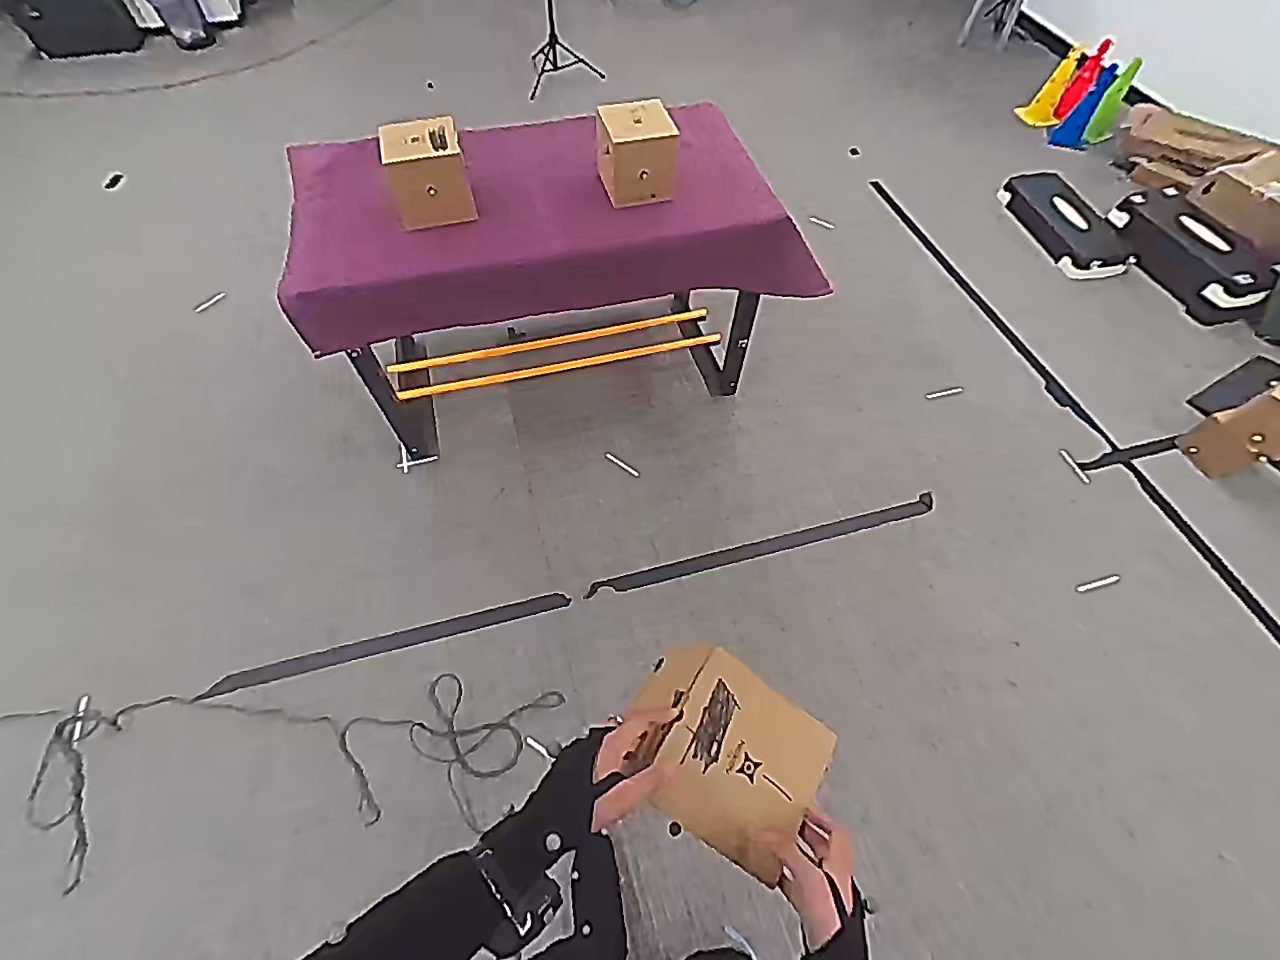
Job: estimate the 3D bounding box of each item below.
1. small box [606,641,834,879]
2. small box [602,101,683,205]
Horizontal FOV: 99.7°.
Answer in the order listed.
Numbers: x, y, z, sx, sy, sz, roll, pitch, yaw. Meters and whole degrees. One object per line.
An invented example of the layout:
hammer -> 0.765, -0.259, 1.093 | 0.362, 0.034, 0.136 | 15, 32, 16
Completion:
small box -> 0.082, 0.310, 0.635 | 0.179, 0.176, 0.168 | 38, 67, -4
small box -> 0.004, -0.829, 1.384 | 0.168, 0.176, 0.179 | -13, 60, -9
